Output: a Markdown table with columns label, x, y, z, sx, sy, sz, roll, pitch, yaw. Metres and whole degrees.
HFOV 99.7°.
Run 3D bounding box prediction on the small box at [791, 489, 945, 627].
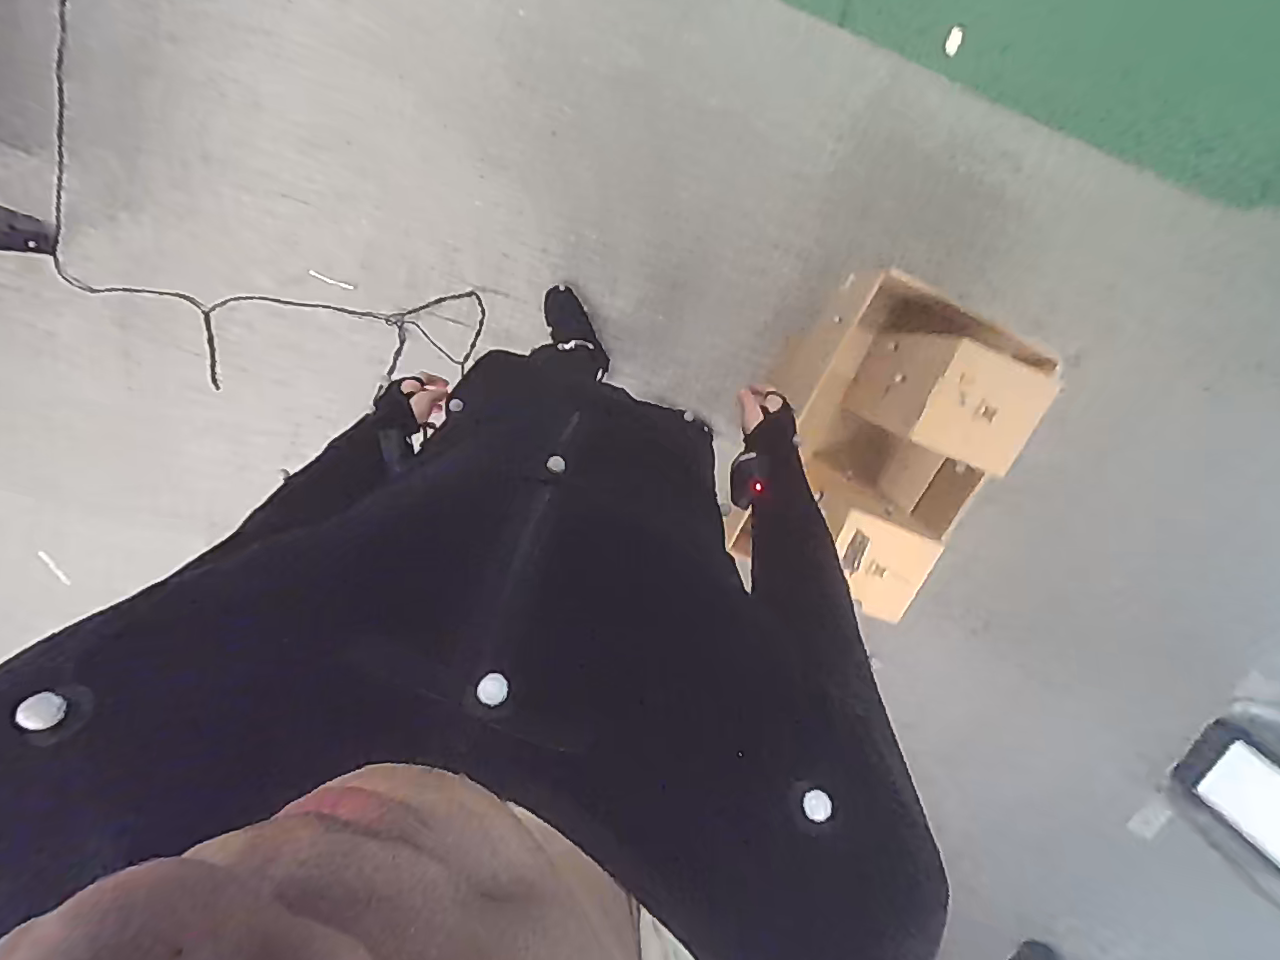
| label | x | y | z | sx | sy | sz | roll | pitch | yaw |
| --- | --- | --- | --- | --- | --- | --- | --- | --- | --- |
| small box | 0.400 | 0.131 | 0.987 | 0.179 | 0.176 | 0.168 | 22 | 107 | -5 |

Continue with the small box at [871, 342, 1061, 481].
| label | x | y | z | sx | sy | sz | roll | pitch | yaw |
| --- | --- | --- | --- | --- | --- | --- | --- | --- | --- |
| small box | 0.527 | -0.124 | 0.904 | 0.179 | 0.176 | 0.168 | 22 | 106 | -5 |

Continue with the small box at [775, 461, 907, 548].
| label | x | y | z | sx | sy | sz | roll | pitch | yaw |
| --- | --- | --- | --- | --- | --- | --- | --- | --- | --- |
| small box | 0.413 | 0.078 | 1.143 | 0.179 | 0.176 | 0.168 | 26 | 106 | -6 |
